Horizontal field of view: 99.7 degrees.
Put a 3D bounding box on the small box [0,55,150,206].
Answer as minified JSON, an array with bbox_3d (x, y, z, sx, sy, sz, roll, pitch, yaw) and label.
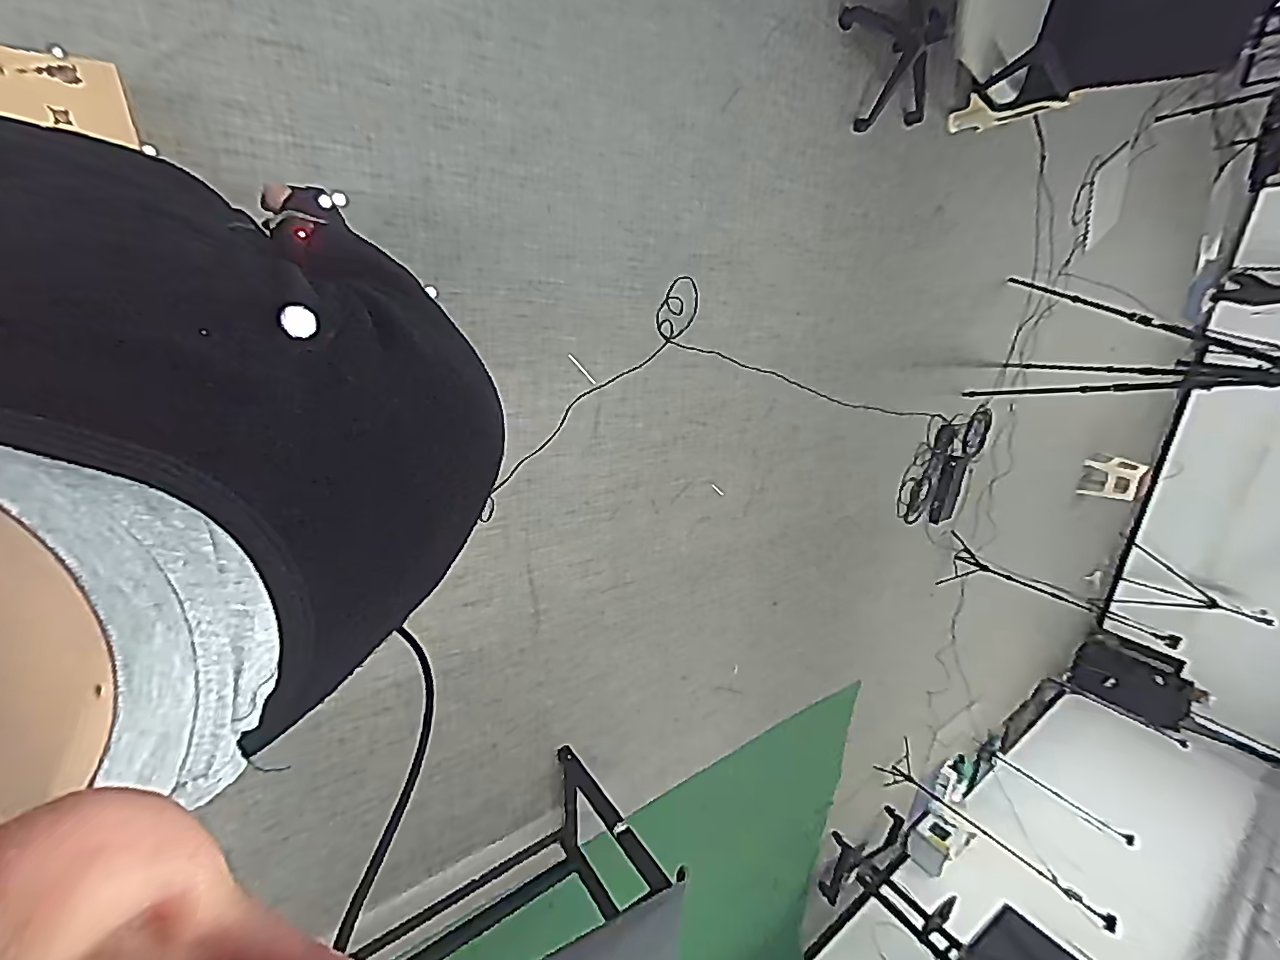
[{"bbox_3d":[-0.908,-0.536,0.851,0.168,0.176,0.179,-16,117,-33],"label":"small box"}]
